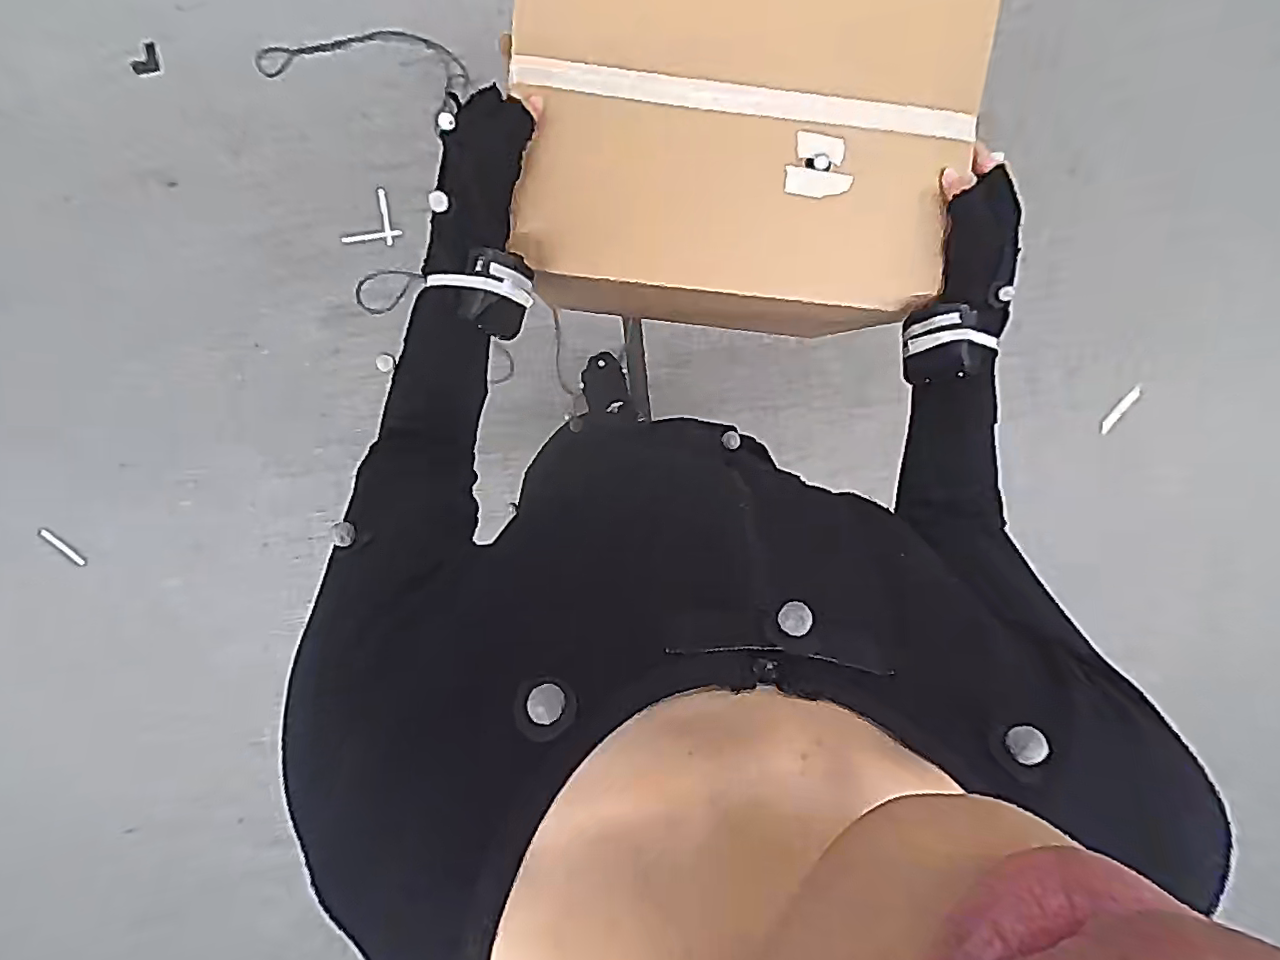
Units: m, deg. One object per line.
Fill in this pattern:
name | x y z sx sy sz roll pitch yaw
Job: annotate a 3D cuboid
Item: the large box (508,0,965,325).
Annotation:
large box | 0.074 -0.366 0.630 0.408 0.320 0.320 4 102 -4
